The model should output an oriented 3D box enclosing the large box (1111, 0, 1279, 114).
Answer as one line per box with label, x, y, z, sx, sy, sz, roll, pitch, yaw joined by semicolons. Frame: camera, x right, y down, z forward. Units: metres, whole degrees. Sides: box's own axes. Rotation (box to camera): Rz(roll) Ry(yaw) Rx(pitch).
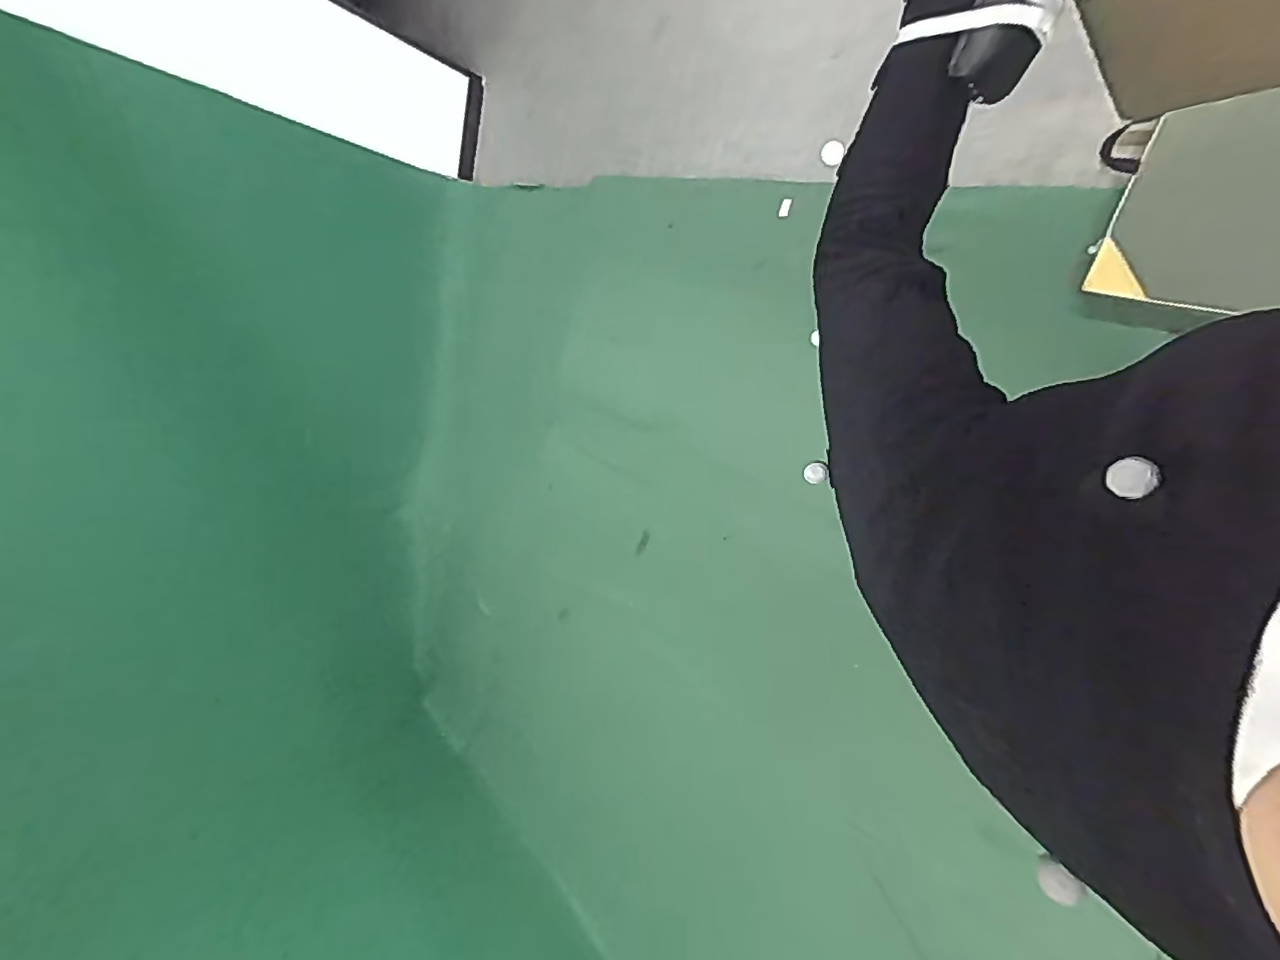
large box;0.527;-0.458;0.274;0.408;0.320;0.320;11;110;42
